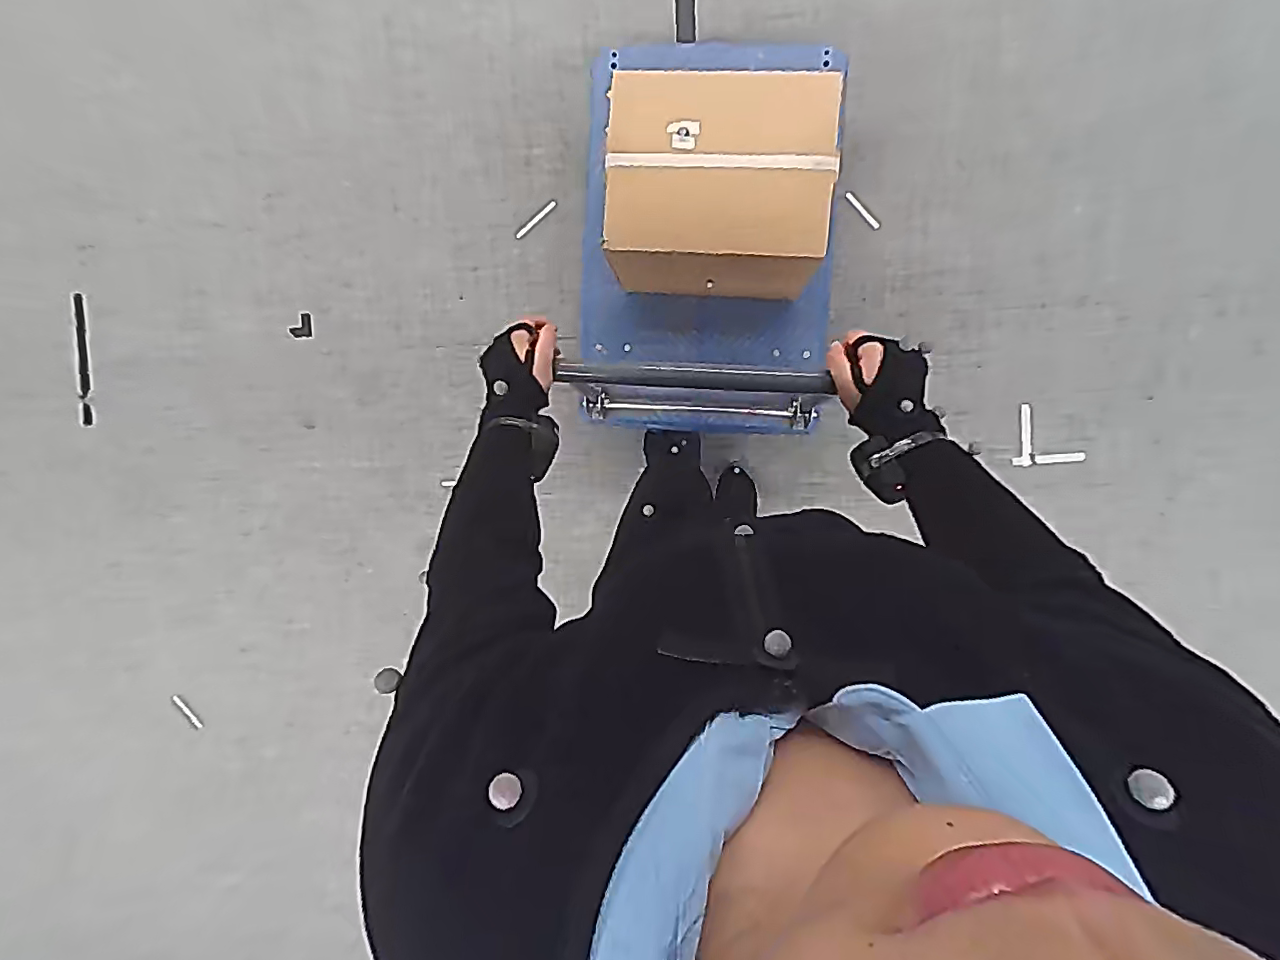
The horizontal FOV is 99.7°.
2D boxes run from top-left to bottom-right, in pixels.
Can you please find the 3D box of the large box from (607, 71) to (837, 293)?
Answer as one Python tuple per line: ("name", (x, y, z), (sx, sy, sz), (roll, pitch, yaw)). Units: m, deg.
("large box", (0.161, -0.583, 1.124), (0.408, 0.320, 0.320), (4, 94, 7))
